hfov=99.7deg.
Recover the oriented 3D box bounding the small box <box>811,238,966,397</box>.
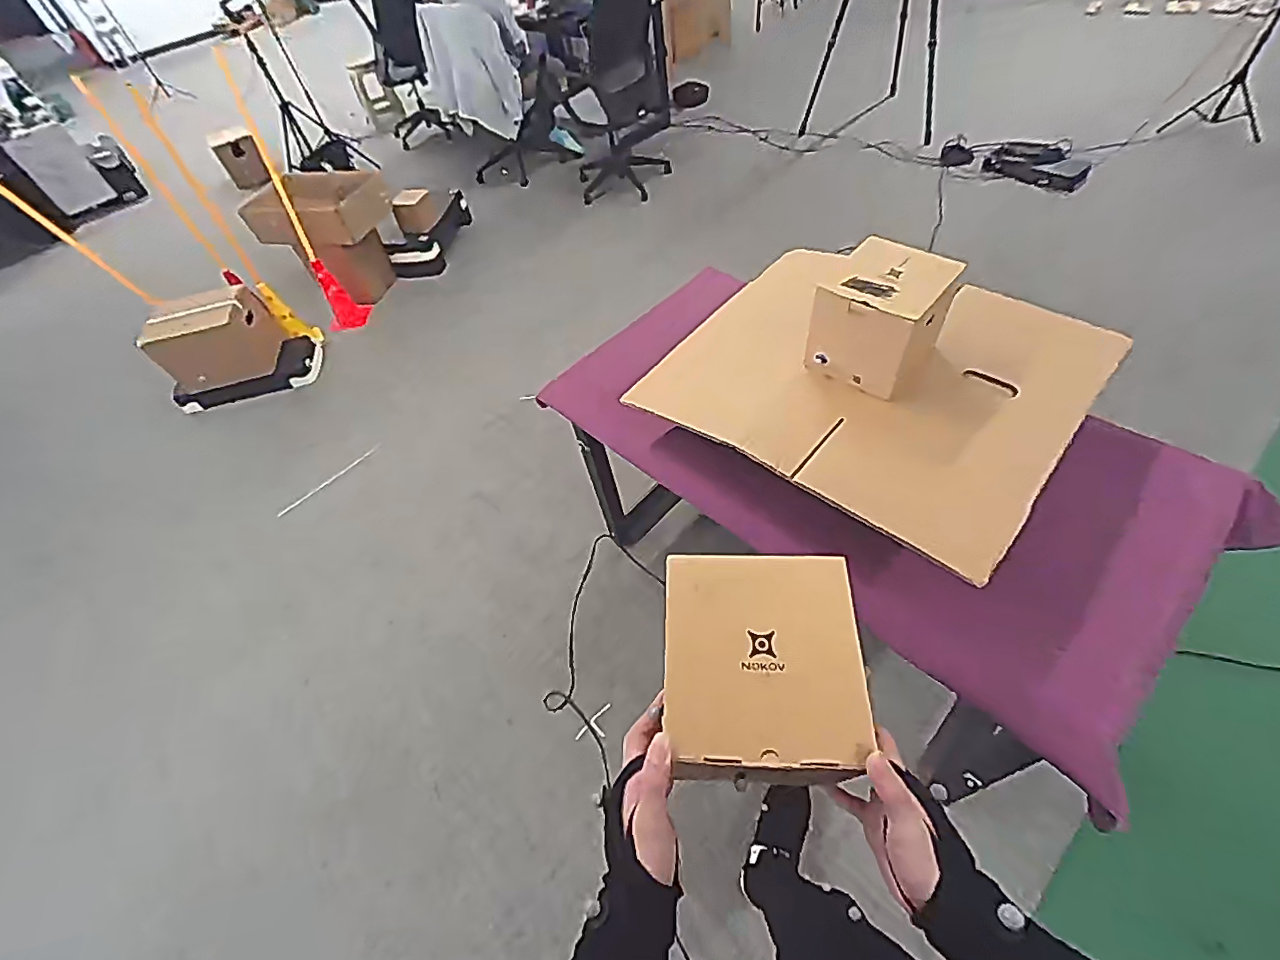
[{"bbox_3d":[0.408,-0.272,0.918,0.168,0.176,0.179,34,64,28],"label":"small box"}]

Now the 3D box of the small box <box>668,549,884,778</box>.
[{"bbox_3d":[0.112,0.182,0.525,0.168,0.176,0.179,0,59,4],"label":"small box"}]
